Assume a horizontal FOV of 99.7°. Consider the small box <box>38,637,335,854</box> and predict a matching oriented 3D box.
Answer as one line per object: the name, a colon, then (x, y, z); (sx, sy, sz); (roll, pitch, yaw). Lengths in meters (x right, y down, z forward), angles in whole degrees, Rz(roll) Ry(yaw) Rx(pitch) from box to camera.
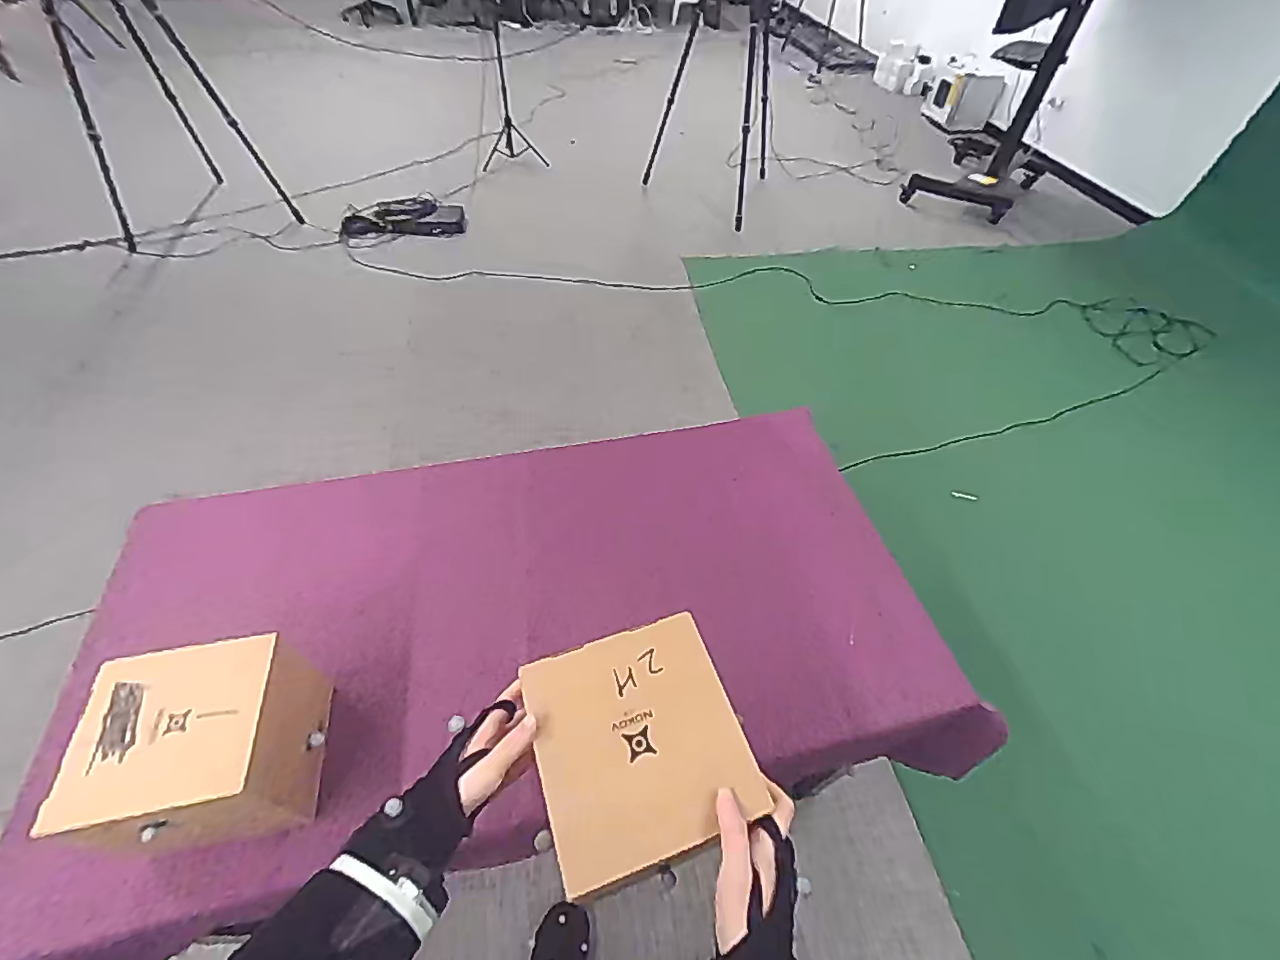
small box: (-0.480, 0.302, 0.612); (0.179, 0.176, 0.168); (-7, 51, -10)
